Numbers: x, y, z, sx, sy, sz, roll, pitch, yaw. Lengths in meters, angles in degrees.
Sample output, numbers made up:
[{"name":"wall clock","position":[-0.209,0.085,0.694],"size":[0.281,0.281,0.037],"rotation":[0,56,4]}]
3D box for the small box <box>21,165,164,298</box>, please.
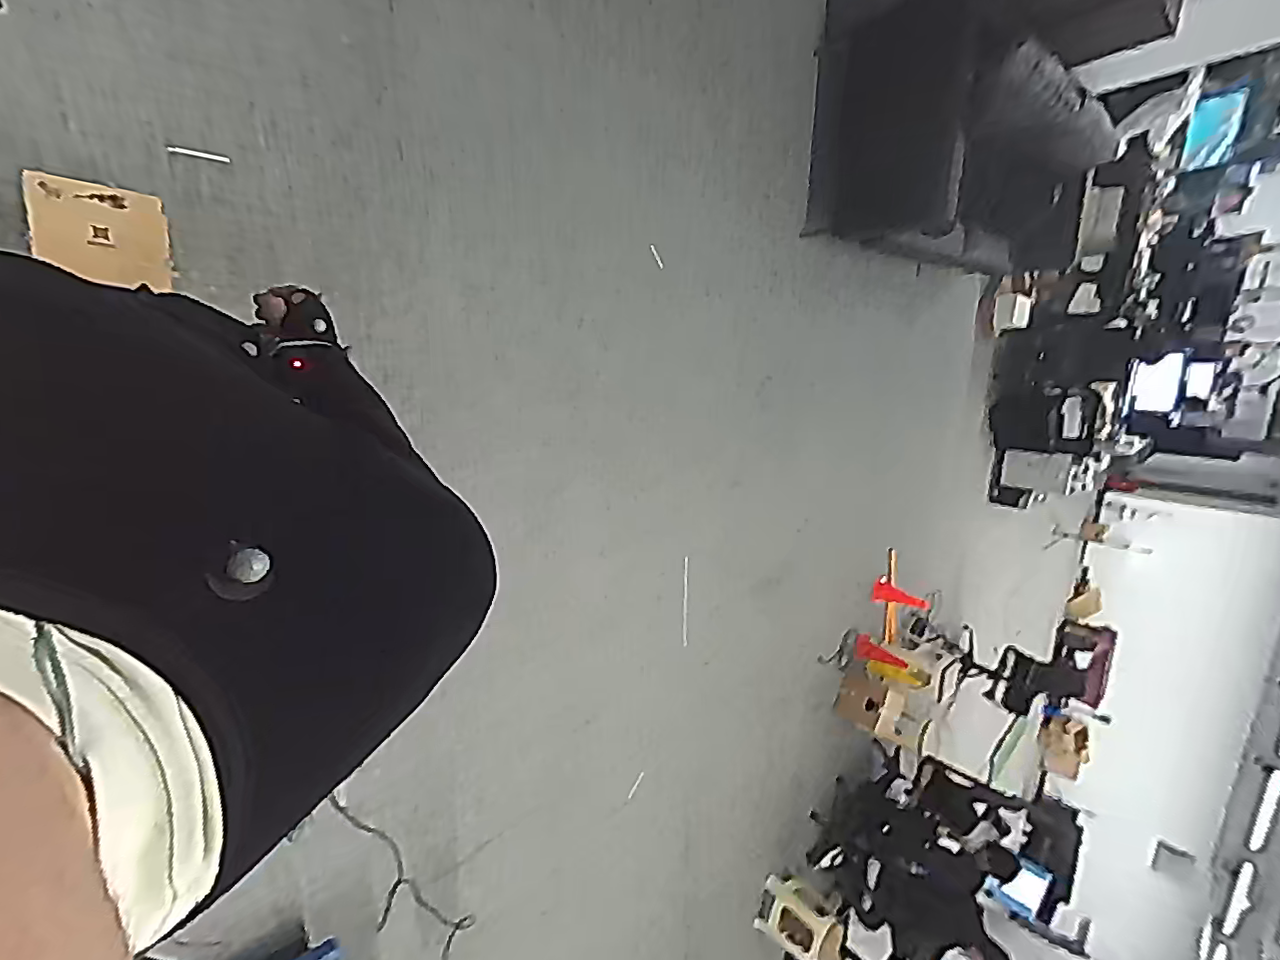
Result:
[{"name":"small box","position":[-0.975,-0.433,0.977],"size":[0.168,0.176,0.179],"rotation":[-4,105,-42]}]
